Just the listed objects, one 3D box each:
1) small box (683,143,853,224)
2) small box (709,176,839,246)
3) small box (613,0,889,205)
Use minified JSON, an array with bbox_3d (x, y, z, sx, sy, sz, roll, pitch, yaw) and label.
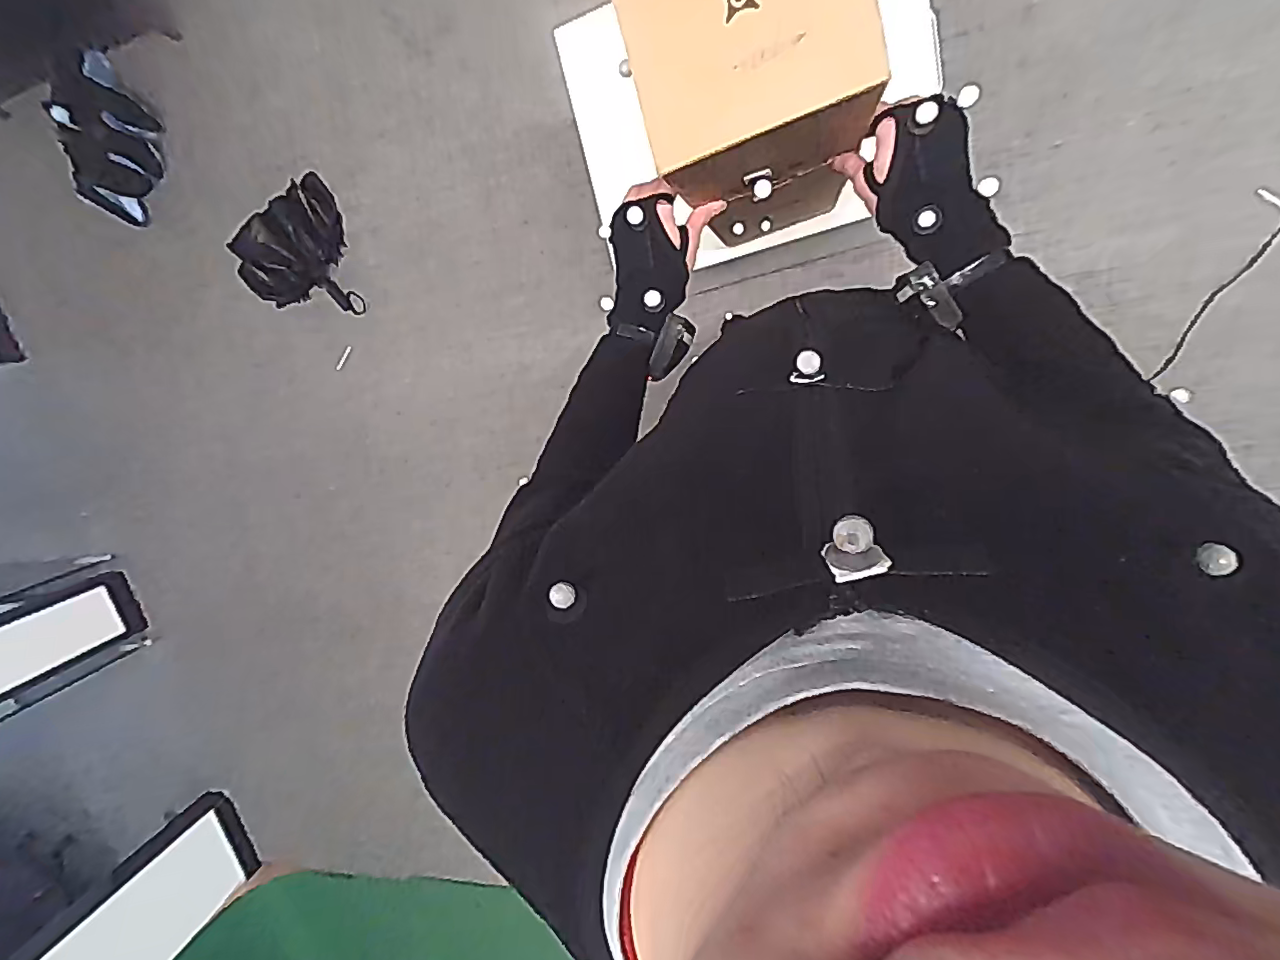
[{"bbox_3d":[0.122,-0.395,0.584,0.168,0.176,0.179,-13,102,18],"label":"small box"},{"bbox_3d":[0.162,-0.442,0.737,0.168,0.176,0.179,-14,102,19],"label":"small box"},{"bbox_3d":[0.083,-0.350,0.432,0.168,0.176,0.179,-13,103,19],"label":"small box"}]
